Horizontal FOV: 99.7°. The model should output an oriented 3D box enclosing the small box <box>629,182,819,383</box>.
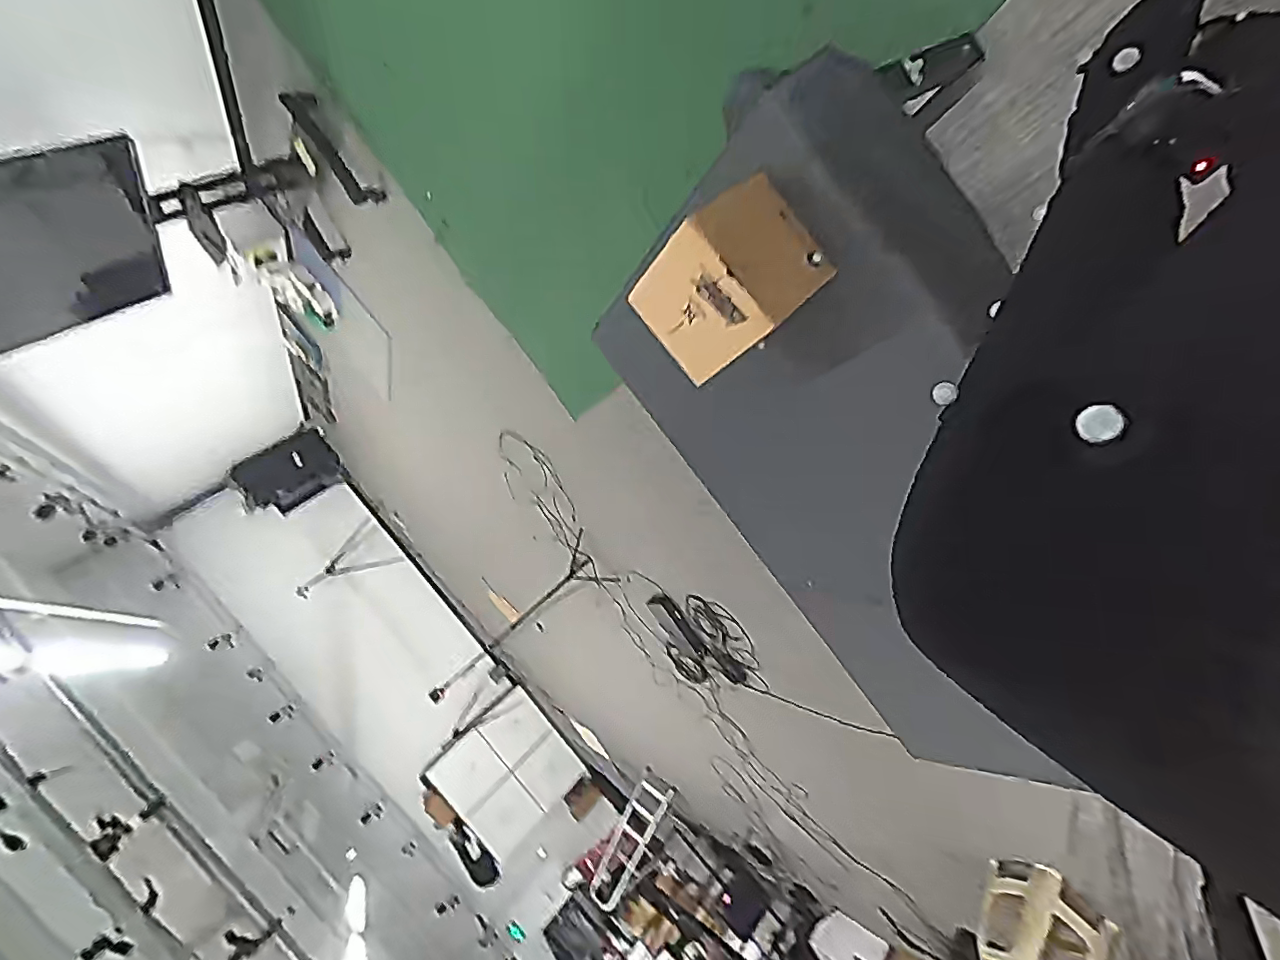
[{"bbox_3d":[0.122,-0.273,0.754,0.168,0.176,0.179,50,151,-5],"label":"small box"}]
